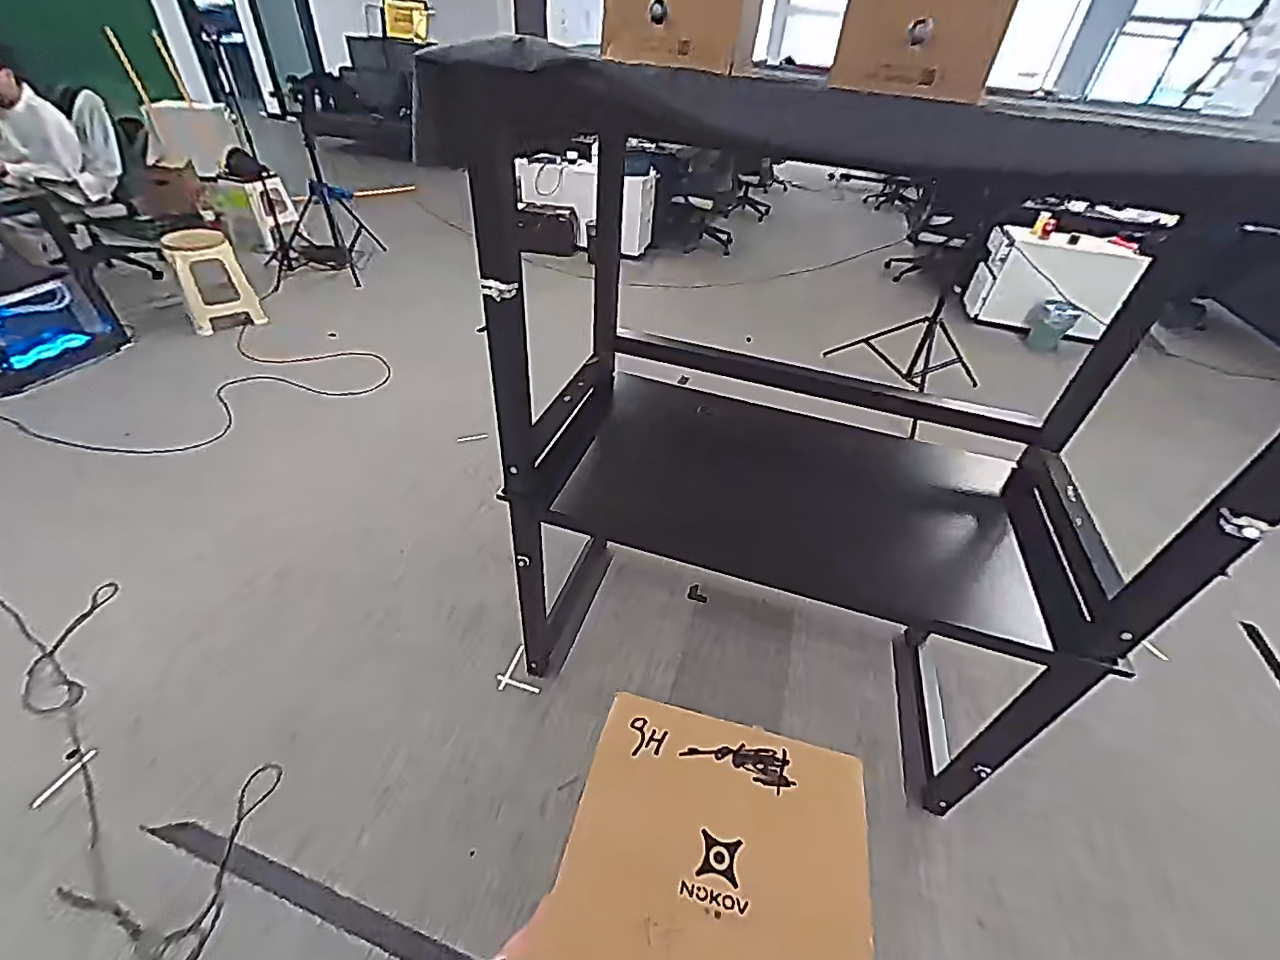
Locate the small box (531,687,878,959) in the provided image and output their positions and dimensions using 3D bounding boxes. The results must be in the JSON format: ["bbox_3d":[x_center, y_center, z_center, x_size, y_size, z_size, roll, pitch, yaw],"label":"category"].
[{"bbox_3d":[0.037,0.269,0.341,0.168,0.176,0.179,13,42,8],"label":"small box"}]

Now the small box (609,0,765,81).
[{"bbox_3d":[0.064,-0.607,0.665,0.168,0.176,0.179,15,39,9],"label":"small box"}]

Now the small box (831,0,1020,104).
[{"bbox_3d":[0.325,-0.541,0.614,0.168,0.176,0.179,15,39,11],"label":"small box"}]
